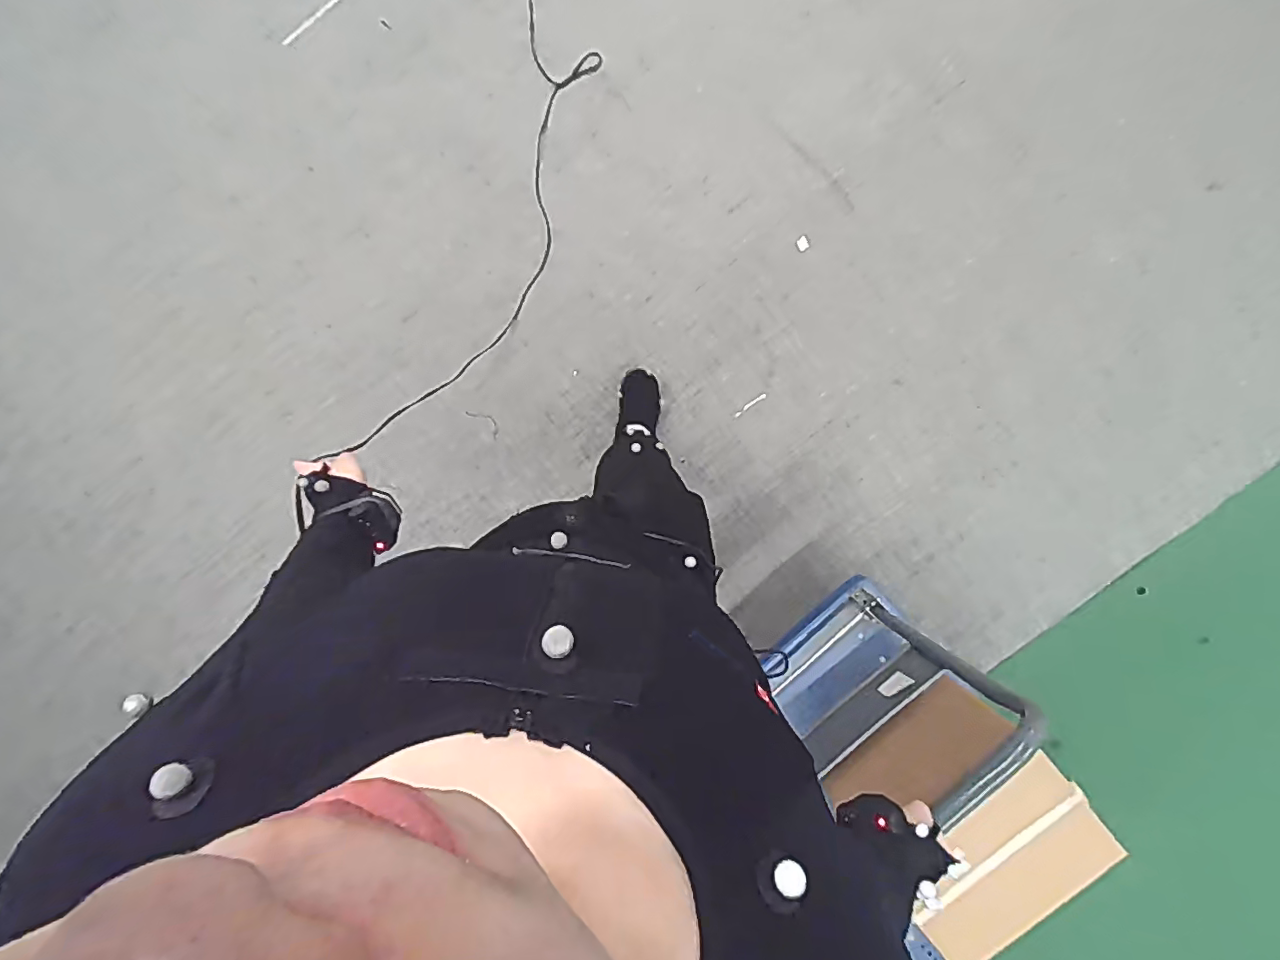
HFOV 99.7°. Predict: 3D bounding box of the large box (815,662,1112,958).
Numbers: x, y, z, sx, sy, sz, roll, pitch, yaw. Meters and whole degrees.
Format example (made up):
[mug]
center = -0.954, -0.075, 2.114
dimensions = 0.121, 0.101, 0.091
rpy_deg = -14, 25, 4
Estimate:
[large box]
center = 0.675, 0.693, 1.200
dimensions = 0.408, 0.320, 0.320
rpy_deg = -40, 91, 3
